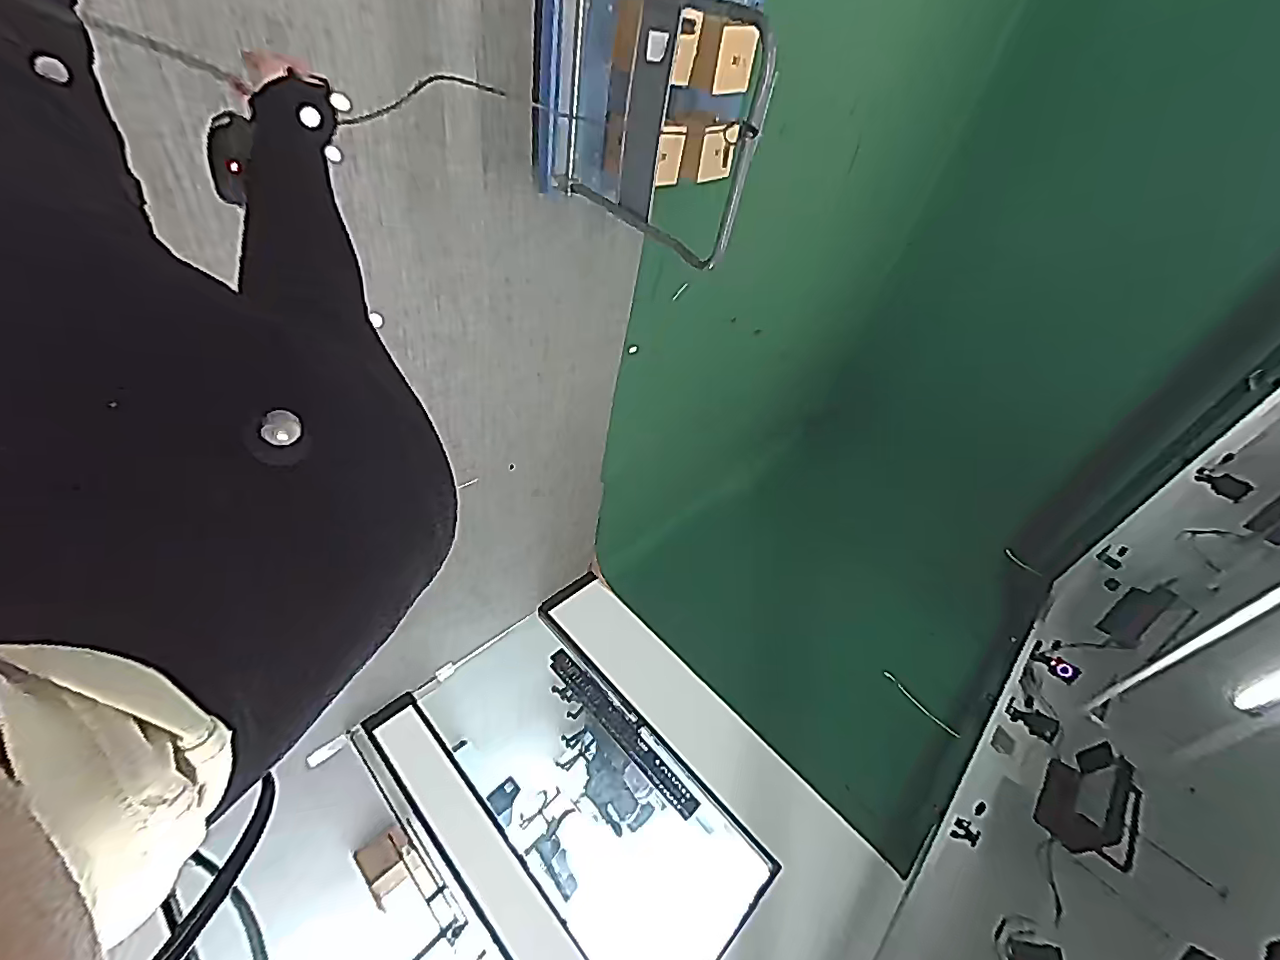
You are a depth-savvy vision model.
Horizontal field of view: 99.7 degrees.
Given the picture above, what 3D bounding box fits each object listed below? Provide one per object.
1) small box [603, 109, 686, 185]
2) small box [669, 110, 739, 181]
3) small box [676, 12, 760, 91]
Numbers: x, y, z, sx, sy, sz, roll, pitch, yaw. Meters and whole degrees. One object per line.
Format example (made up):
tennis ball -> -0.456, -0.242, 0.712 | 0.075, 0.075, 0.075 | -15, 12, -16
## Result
small box -> 0.012, -1.044, 1.692 | 0.179, 0.176, 0.168 | -27, 146, -36
small box -> 0.204, -1.149, 1.850 | 0.179, 0.176, 0.168 | -30, 147, -32
small box -> 0.233, -1.322, 1.669 | 0.179, 0.176, 0.168 | -31, 149, -33
